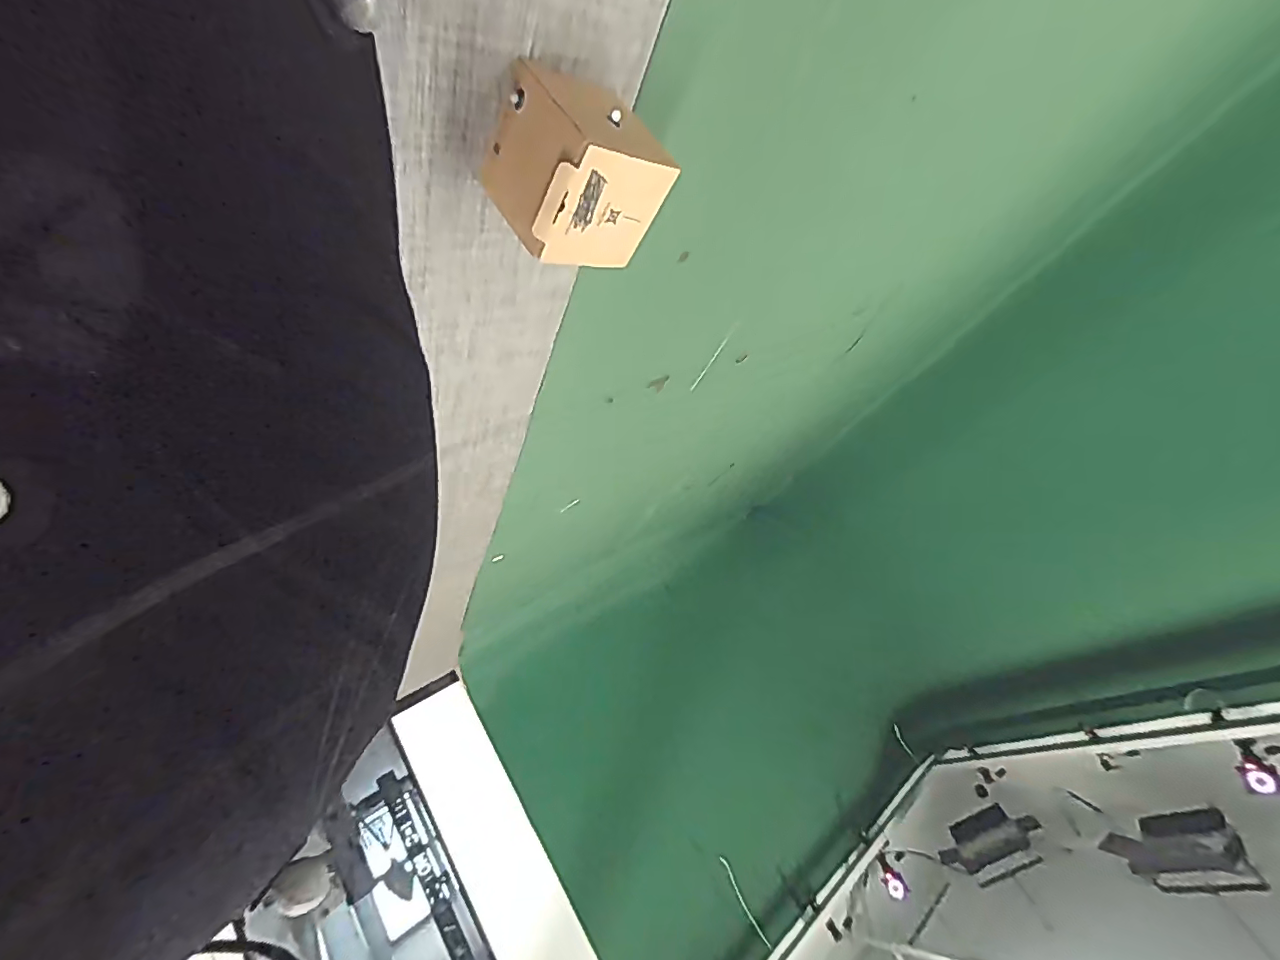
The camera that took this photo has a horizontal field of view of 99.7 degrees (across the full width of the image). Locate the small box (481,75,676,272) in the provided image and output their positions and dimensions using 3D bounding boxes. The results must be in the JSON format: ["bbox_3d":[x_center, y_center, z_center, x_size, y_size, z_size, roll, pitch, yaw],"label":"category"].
[{"bbox_3d":[-0.091,-0.415,0.748,0.179,0.176,0.168,-19,158,-45],"label":"small box"}]
